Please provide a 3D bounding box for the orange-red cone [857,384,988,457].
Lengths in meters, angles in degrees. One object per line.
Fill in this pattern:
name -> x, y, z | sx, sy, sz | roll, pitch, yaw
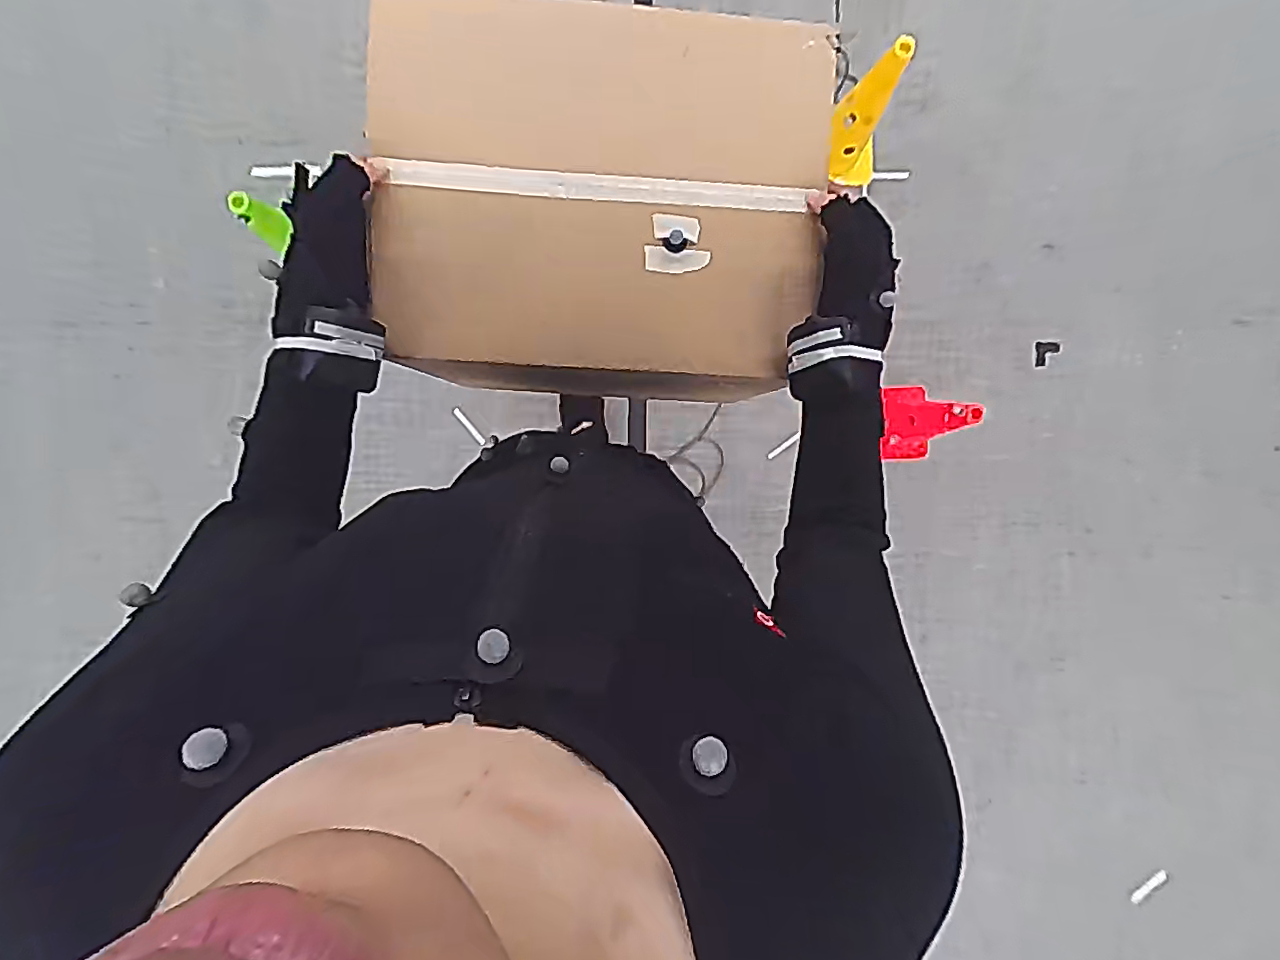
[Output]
orange-red cone -> 0.696, -0.156, 1.298 | 0.198, 0.360, 0.199 | -3, 91, -3

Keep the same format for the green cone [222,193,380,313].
green cone -> -0.788, -0.552, 1.222 | 0.202, 0.368, 0.200 | -38, 93, 1

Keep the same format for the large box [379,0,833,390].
large box -> -0.040, -0.279, 0.630 | 0.408, 0.320, 0.320 | 2, 95, -4
